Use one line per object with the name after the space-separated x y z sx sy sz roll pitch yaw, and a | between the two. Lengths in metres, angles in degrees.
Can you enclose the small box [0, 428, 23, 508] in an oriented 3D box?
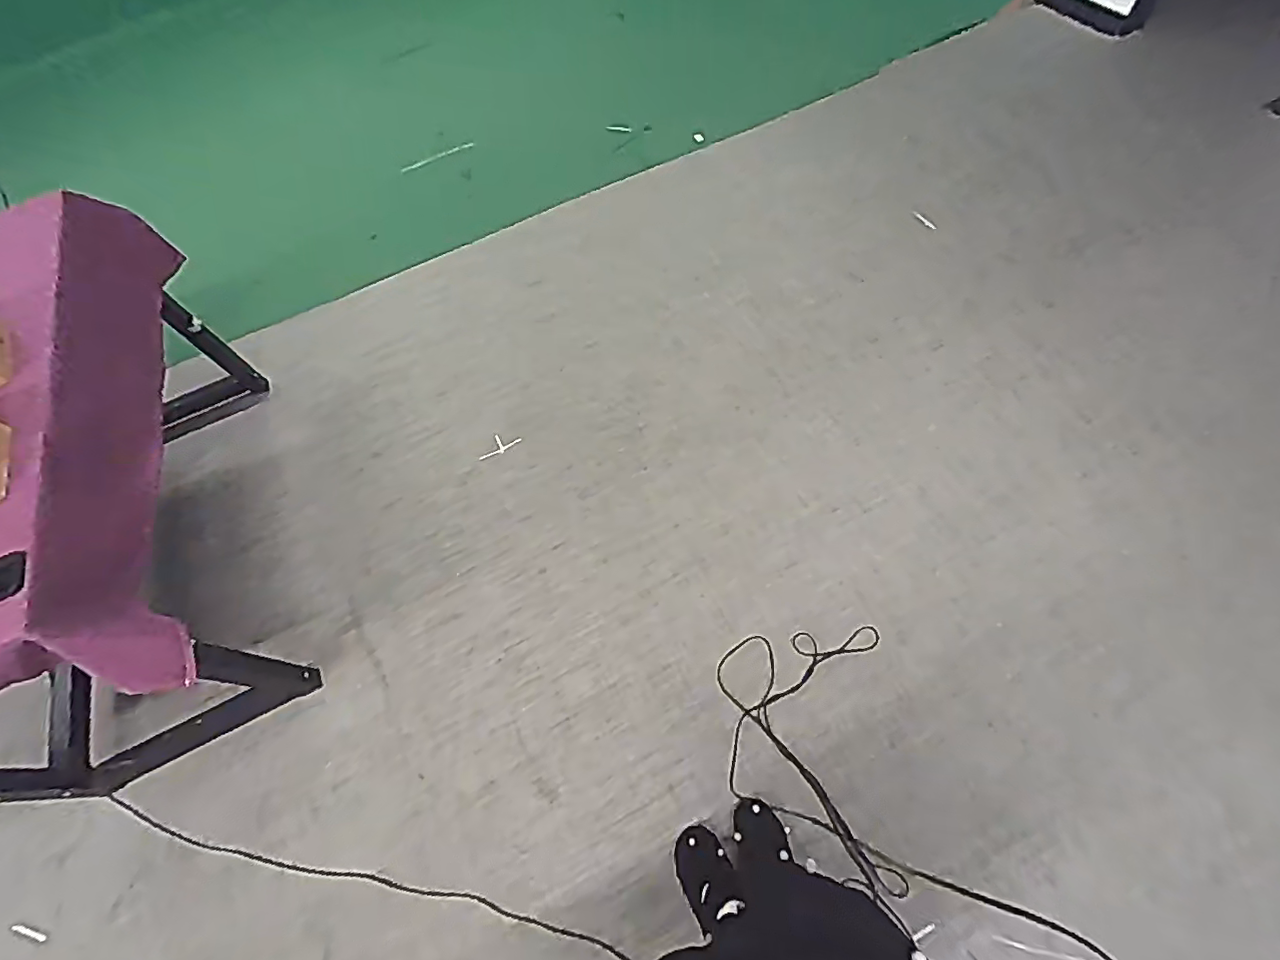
-1.176 -0.018 0.867 0.179 0.176 0.168 -27 62 -8 | small box
